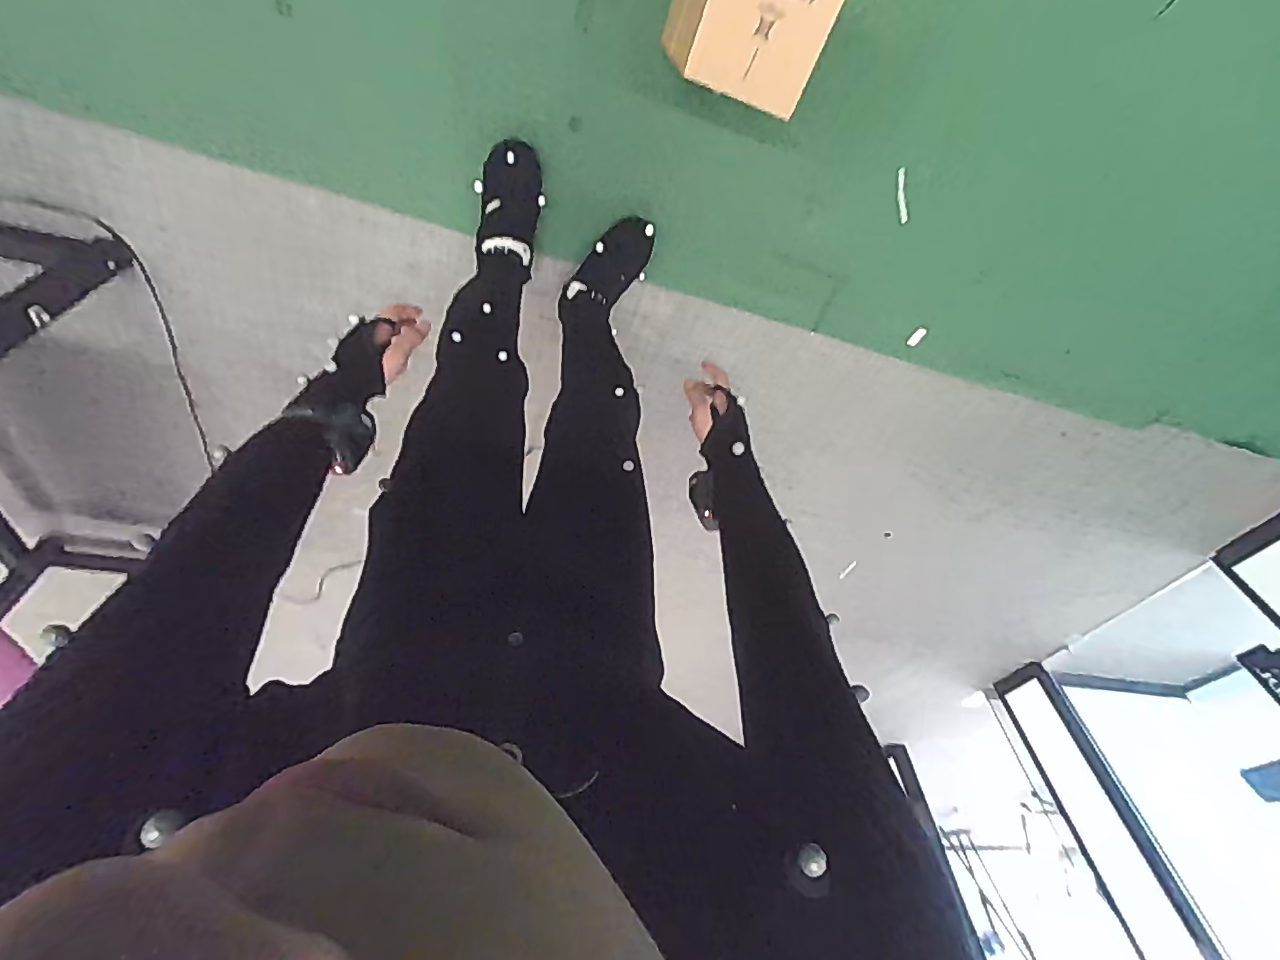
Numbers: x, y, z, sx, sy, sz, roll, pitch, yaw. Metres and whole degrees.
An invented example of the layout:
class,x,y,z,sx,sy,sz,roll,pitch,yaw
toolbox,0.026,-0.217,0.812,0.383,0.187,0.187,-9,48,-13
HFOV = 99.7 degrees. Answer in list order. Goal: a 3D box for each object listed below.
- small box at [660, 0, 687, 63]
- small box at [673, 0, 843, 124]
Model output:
class,x,y,z,sx,sy,sz,roll,pitch,yaw
small box,0.139,-0.750,0.862,0.168,0.176,0.179,12,132,-17
small box,0.153,-0.635,0.746,0.168,0.176,0.179,12,132,-16
